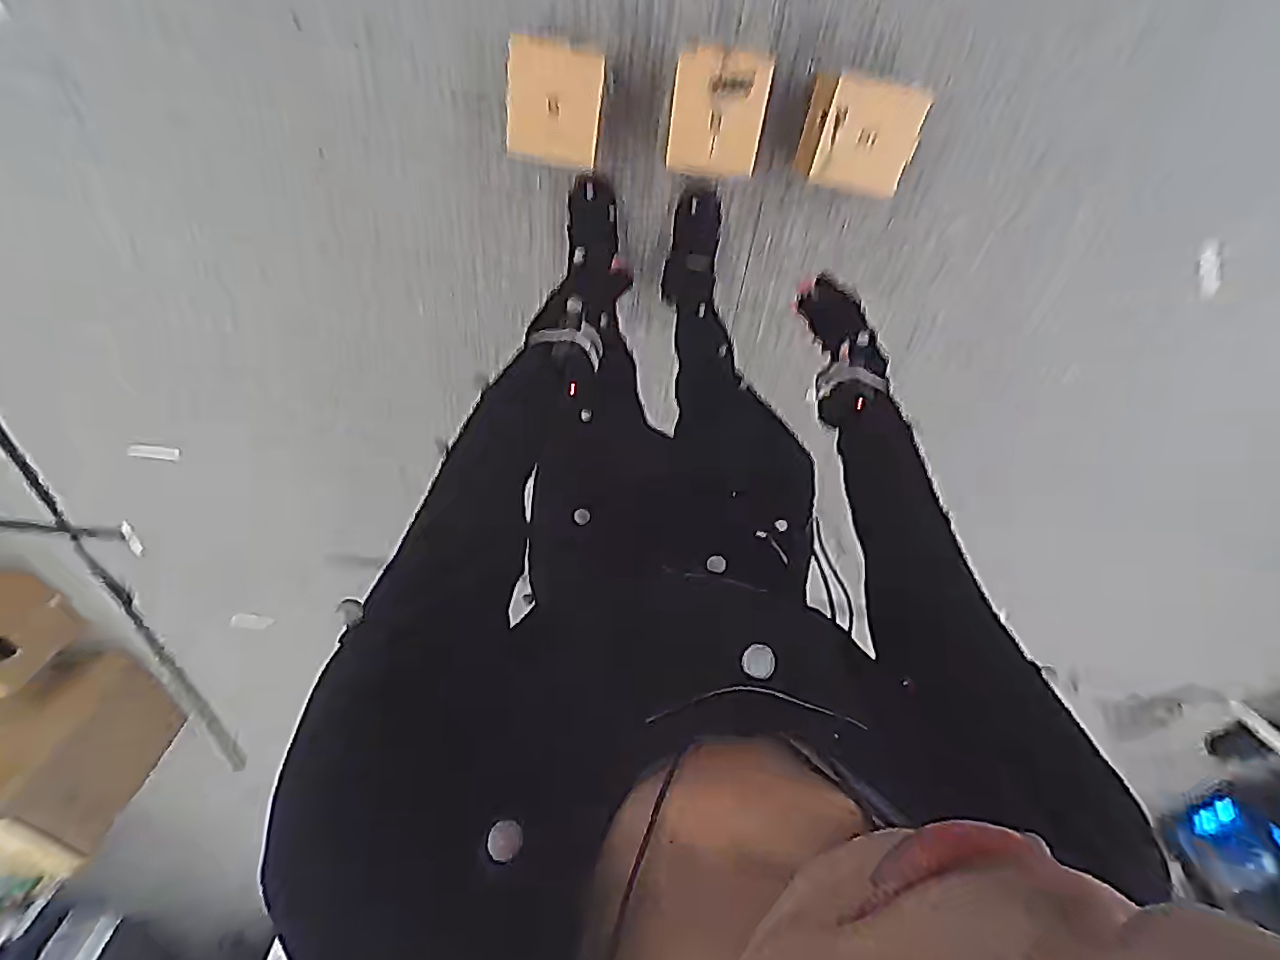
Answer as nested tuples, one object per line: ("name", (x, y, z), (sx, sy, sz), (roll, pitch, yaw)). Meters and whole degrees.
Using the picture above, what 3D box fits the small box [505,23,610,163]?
("small box", (-0.150, -0.717, 1.004), (0.168, 0.176, 0.179), (9, 129, -5))

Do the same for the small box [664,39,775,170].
("small box", (0.137, -0.701, 1.009), (0.168, 0.176, 0.179), (6, 129, -3))

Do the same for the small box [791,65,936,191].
("small box", (0.412, -0.673, 1.030), (0.179, 0.176, 0.168), (8, 128, -7))
